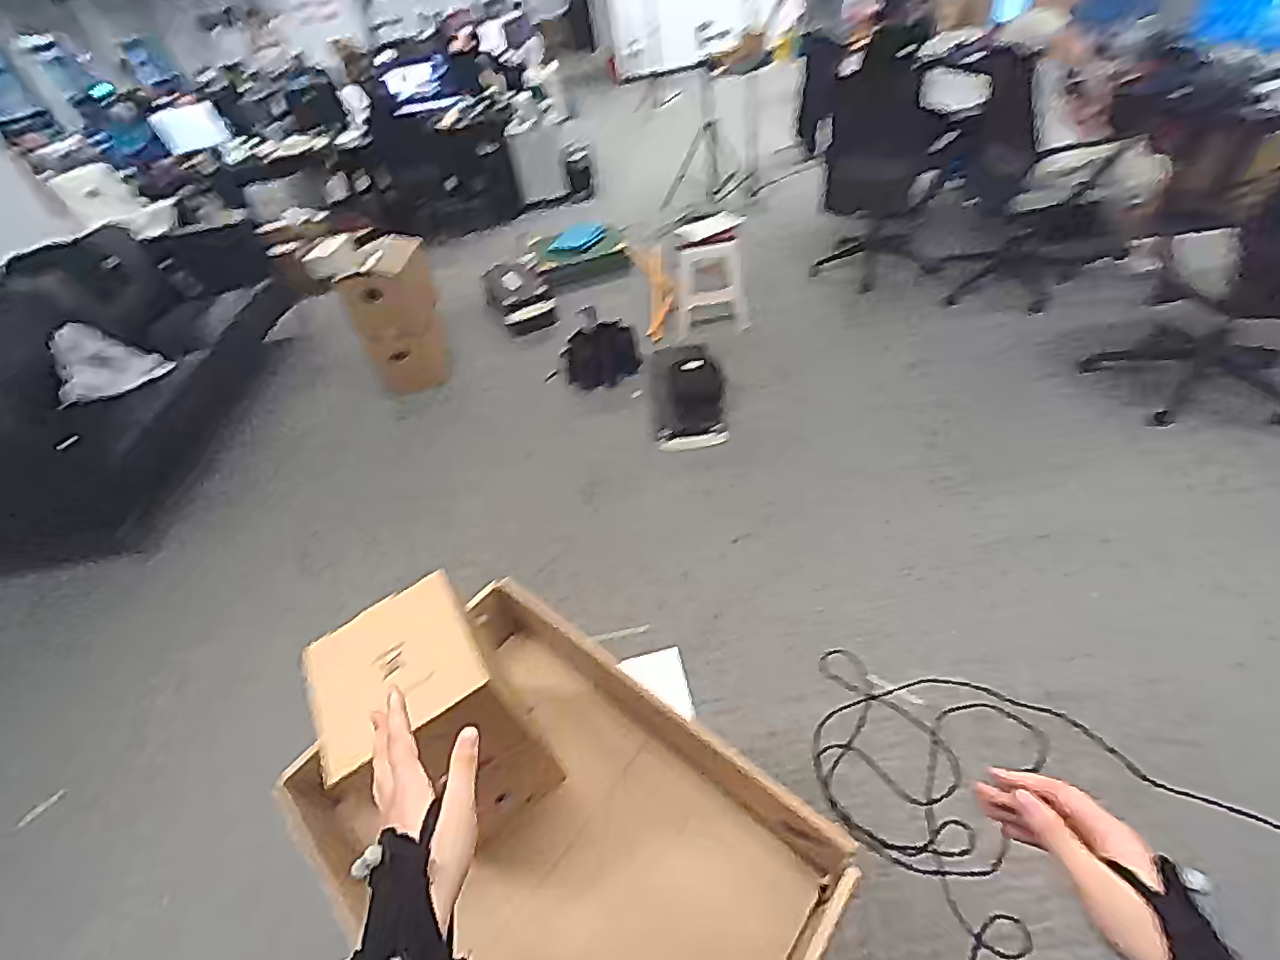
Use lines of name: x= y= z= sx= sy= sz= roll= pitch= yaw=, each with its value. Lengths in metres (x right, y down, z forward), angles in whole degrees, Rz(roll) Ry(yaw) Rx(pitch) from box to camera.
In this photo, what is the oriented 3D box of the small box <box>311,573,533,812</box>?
small box: x=-0.253 y=0.252 z=0.645 sx=0.168 sy=0.176 sz=0.179 roll=-32 pitch=48 yaw=-16
